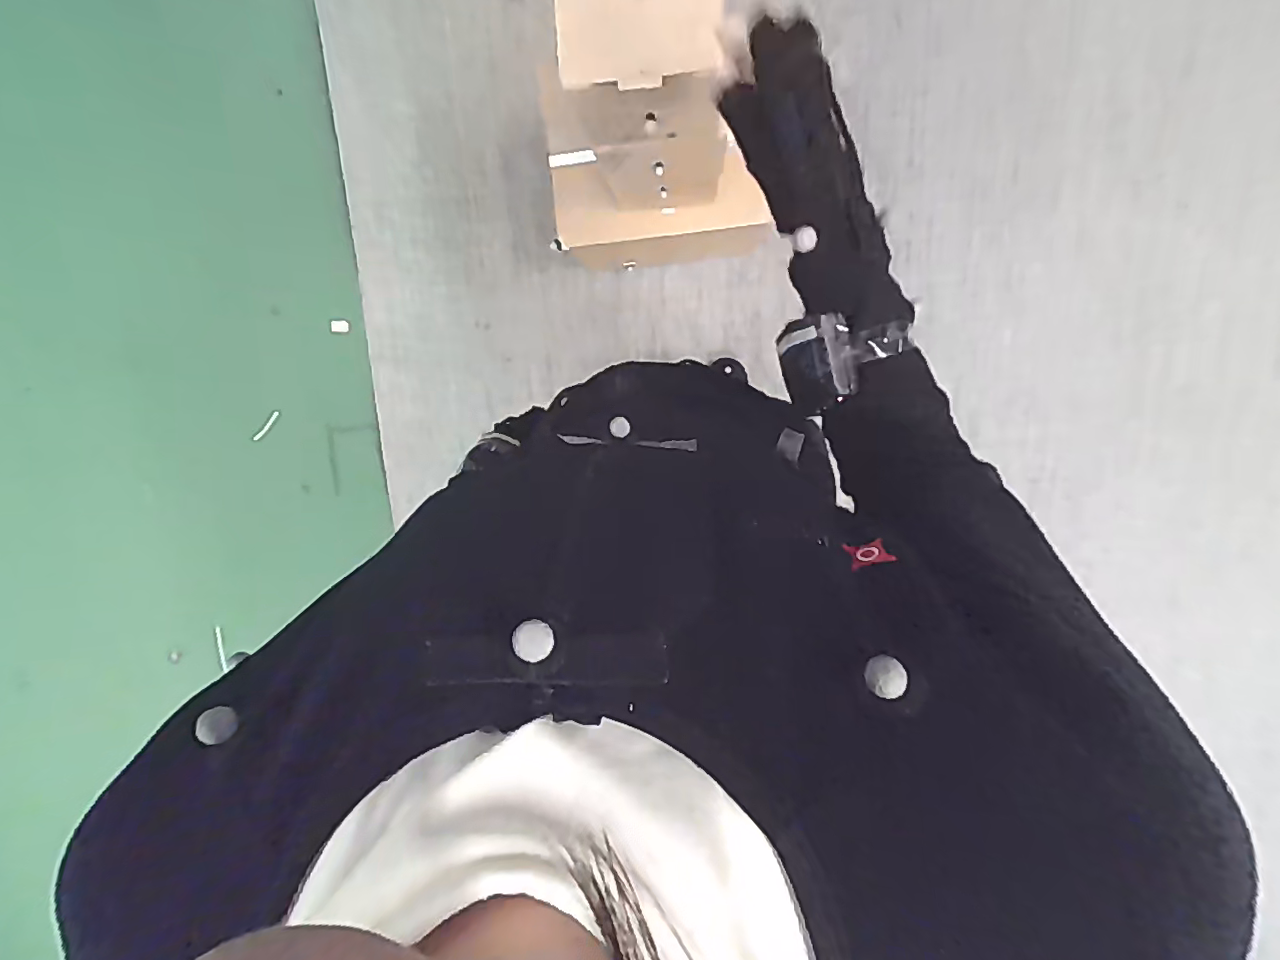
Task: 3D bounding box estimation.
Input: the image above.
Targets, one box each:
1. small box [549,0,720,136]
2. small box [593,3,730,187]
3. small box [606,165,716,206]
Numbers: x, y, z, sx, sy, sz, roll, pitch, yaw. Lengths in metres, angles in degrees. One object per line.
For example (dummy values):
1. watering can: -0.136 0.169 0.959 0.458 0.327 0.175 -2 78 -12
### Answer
1. small box: 0.003 -0.500 0.592 0.168 0.176 0.179 1 105 8
2. small box: 0.026 -0.529 0.752 0.179 0.176 0.168 -6 104 8
3. small box: 0.038 -0.573 0.909 0.179 0.176 0.168 -2 104 6
